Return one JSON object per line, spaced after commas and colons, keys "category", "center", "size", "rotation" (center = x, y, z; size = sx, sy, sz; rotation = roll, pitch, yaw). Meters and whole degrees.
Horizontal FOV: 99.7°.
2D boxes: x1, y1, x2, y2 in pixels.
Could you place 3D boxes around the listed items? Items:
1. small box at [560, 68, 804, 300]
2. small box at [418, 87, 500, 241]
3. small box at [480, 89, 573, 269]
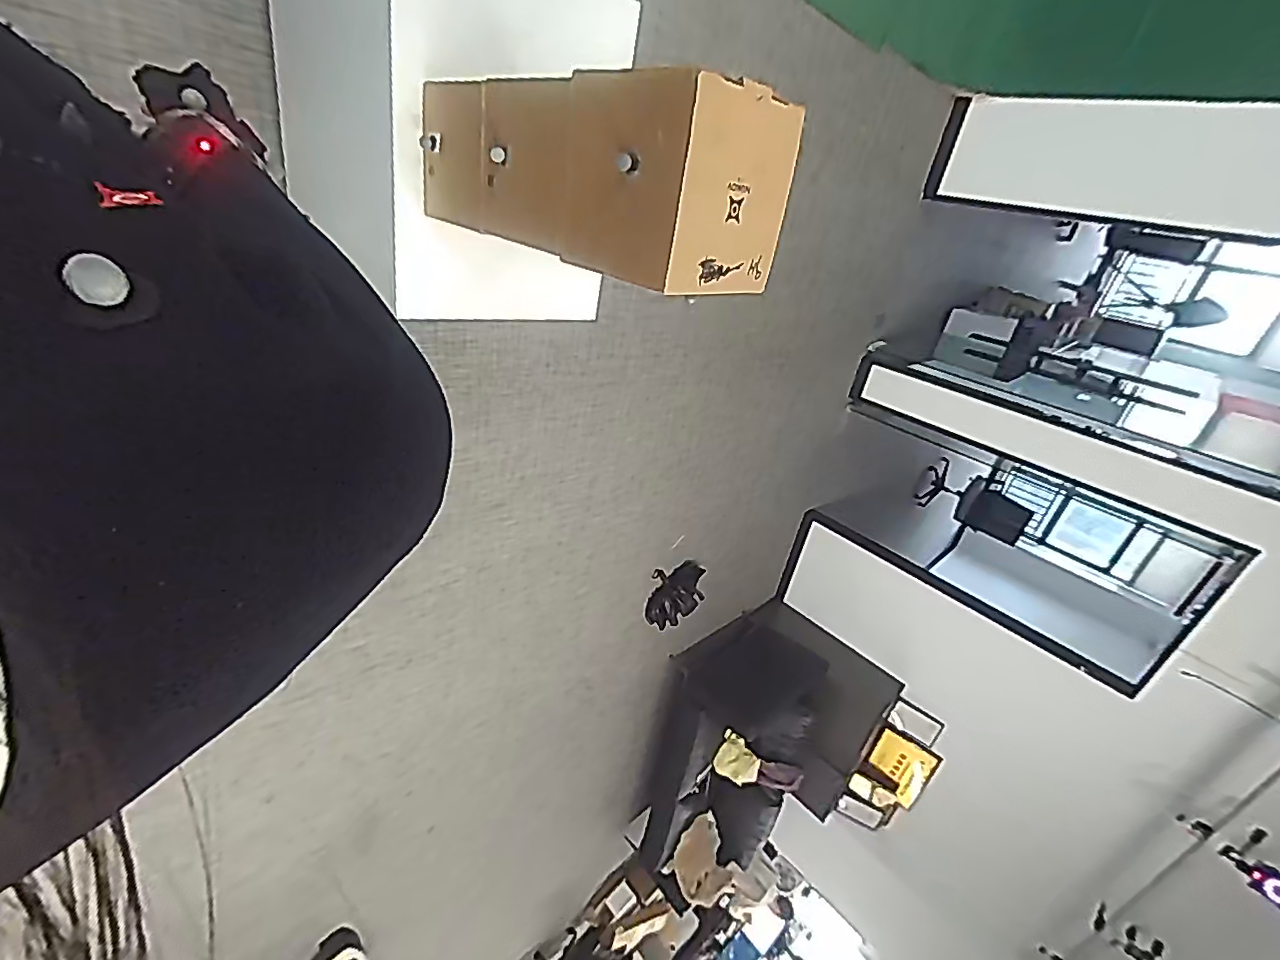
{"category": "small box", "center": [0.034, -0.290, 0.551], "size": [0.168, 0.176, 0.179], "rotation": [-18, 127, -40]}
{"category": "small box", "center": [-0.186, -0.429, 0.751], "size": [0.179, 0.176, 0.168], "rotation": [-16, 127, -40]}
{"category": "small box", "center": [-0.072, -0.359, 0.655], "size": [0.179, 0.176, 0.168], "rotation": [-21, 130, -41]}
